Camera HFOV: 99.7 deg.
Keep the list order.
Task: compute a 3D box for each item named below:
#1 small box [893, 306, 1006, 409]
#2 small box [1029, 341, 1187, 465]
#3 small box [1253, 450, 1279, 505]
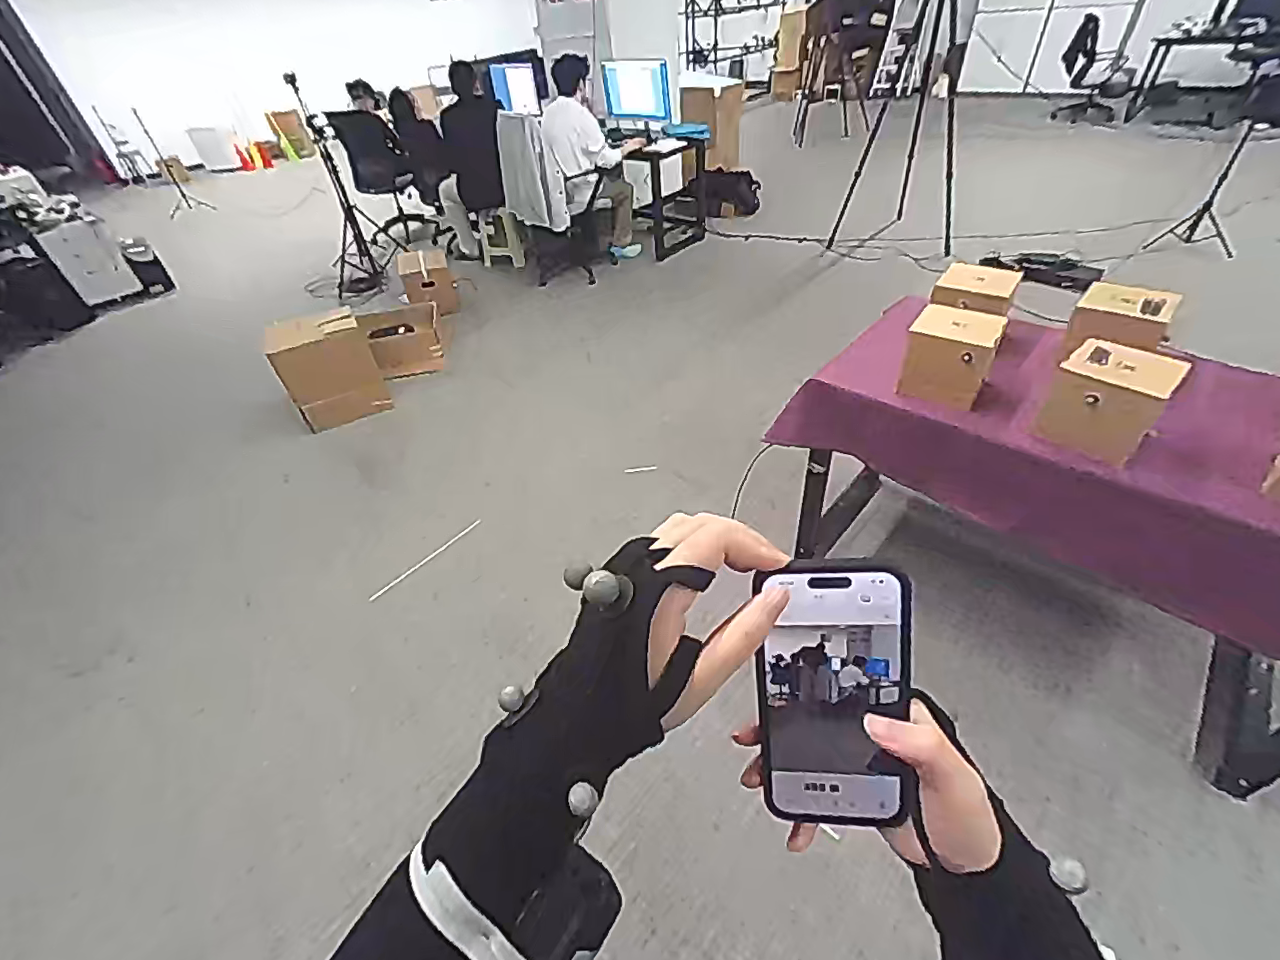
[{"bbox_3d":[0.736,-0.293,1.299,0.179,0.176,0.168,25,50,28],"label":"small box"},{"bbox_3d":[0.955,-0.159,1.120,0.168,0.176,0.179,-33,49,-27],"label":"small box"},{"bbox_3d":[1.248,-0.027,0.934,0.168,0.176,0.179,-32,48,-26],"label":"small box"}]
